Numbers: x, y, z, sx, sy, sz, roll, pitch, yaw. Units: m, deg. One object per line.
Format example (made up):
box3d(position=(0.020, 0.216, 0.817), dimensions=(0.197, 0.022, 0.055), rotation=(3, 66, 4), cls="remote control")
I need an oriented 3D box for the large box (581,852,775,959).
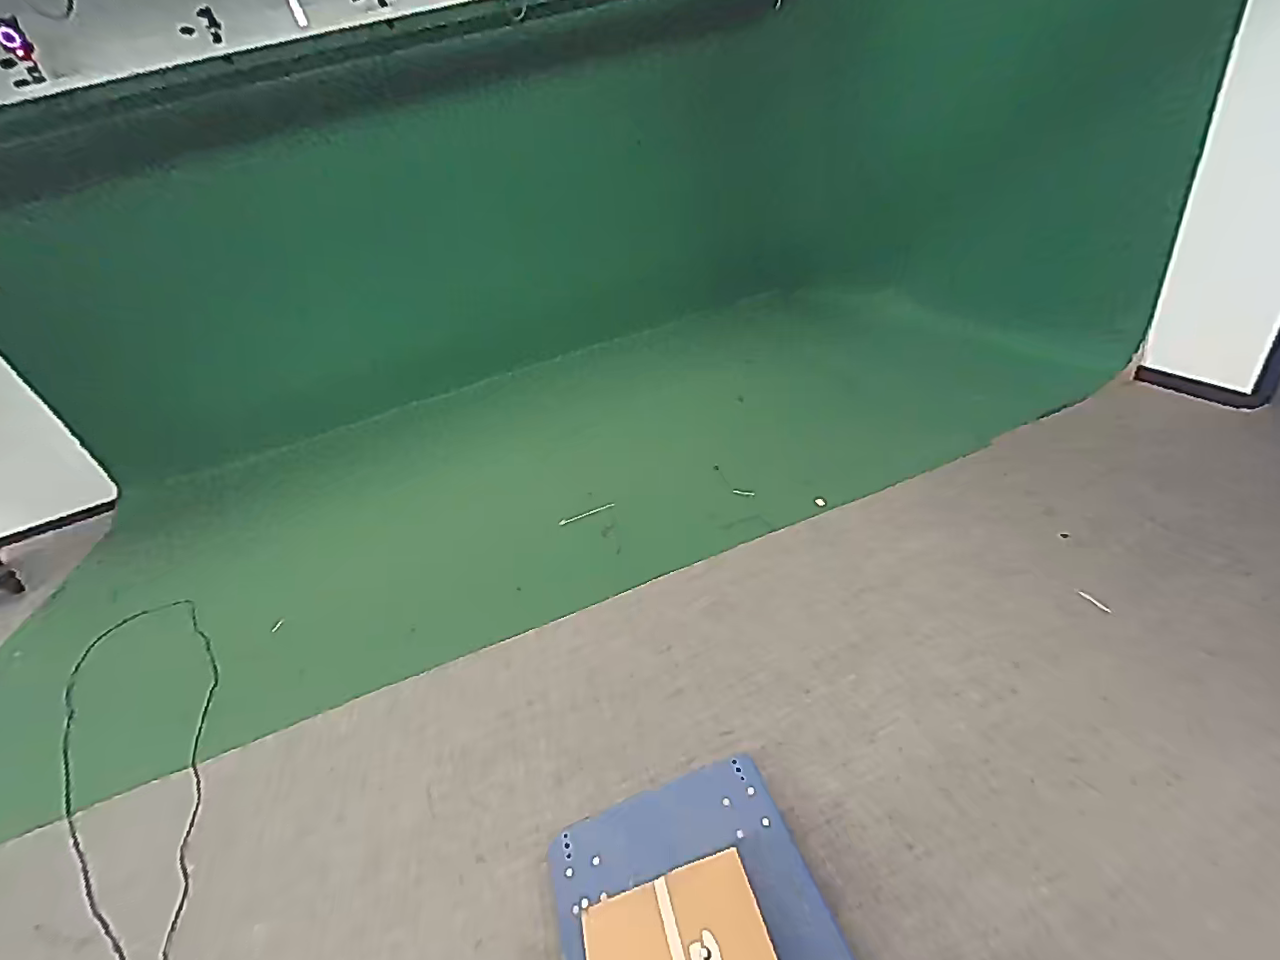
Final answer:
box3d(position=(0.118, 0.972, 0.930), dimensions=(0.320, 0.320, 0.408), rotation=(-18, 32, -5), cls="large box")
